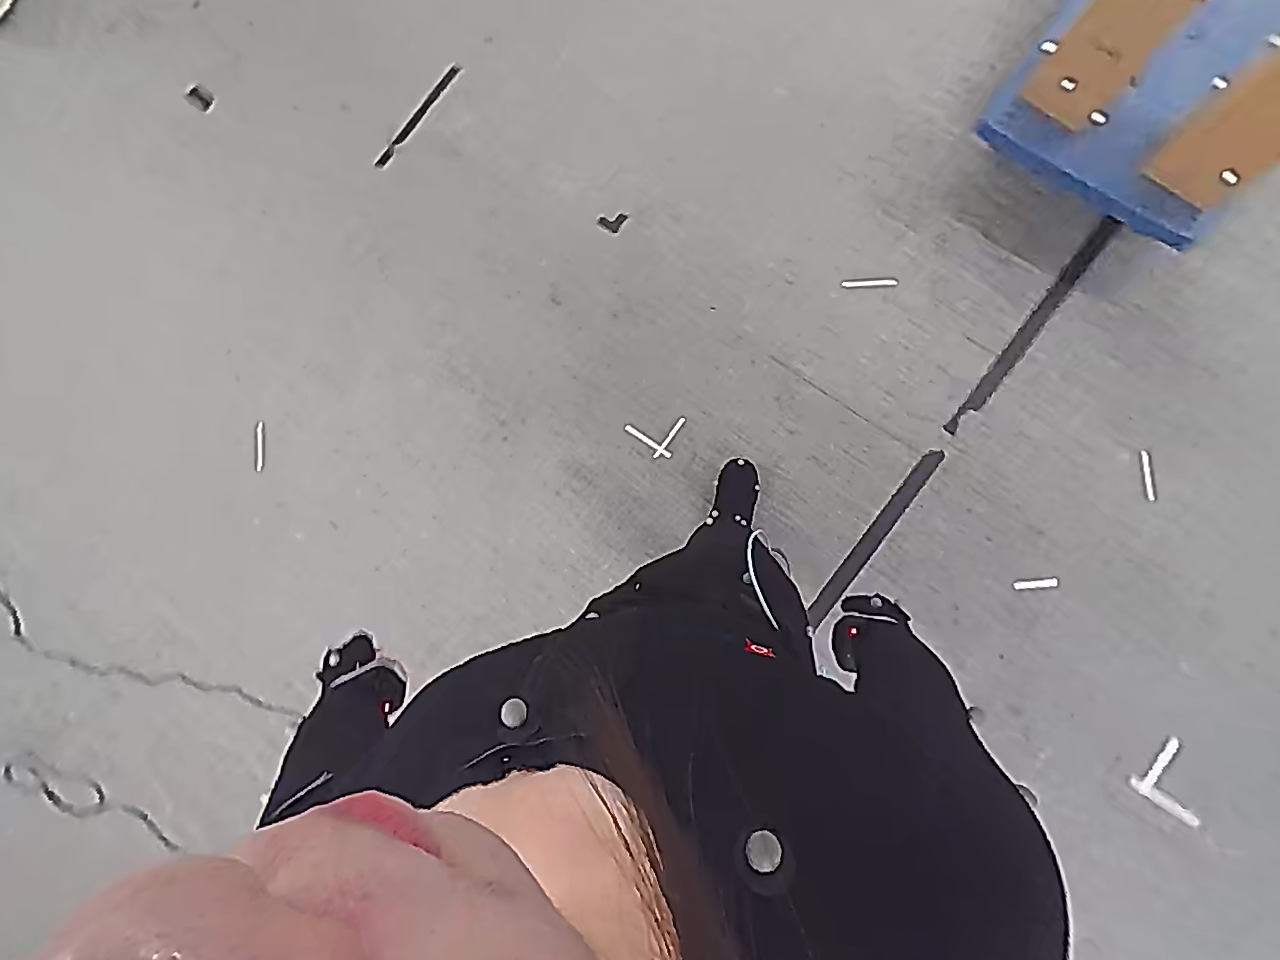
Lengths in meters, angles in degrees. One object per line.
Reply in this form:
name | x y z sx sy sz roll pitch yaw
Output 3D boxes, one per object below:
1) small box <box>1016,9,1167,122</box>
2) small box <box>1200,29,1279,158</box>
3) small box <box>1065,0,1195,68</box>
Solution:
small box | 1.011 -0.956 1.216 0.179 0.176 0.168 40 90 8
small box | 1.241 -0.757 1.015 0.179 0.176 0.168 42 90 6
small box | 0.992 -0.973 1.053 0.168 0.176 0.179 38 89 7
